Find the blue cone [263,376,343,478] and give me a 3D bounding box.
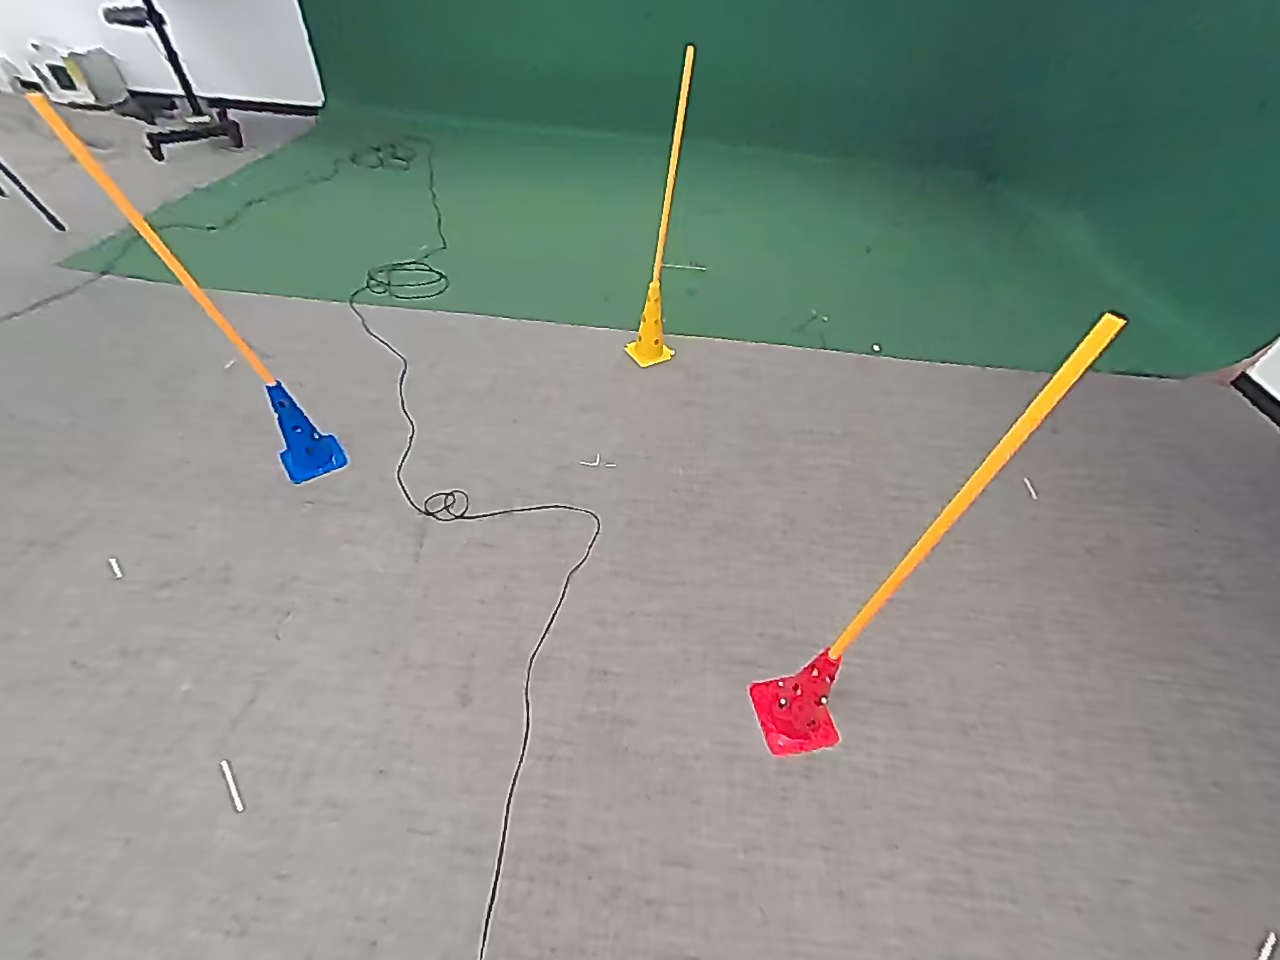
[{"bbox_3d":[-1.221,-0.200,1.901,0.193,0.380,0.192,-30,57,-27],"label":"blue cone"}]
